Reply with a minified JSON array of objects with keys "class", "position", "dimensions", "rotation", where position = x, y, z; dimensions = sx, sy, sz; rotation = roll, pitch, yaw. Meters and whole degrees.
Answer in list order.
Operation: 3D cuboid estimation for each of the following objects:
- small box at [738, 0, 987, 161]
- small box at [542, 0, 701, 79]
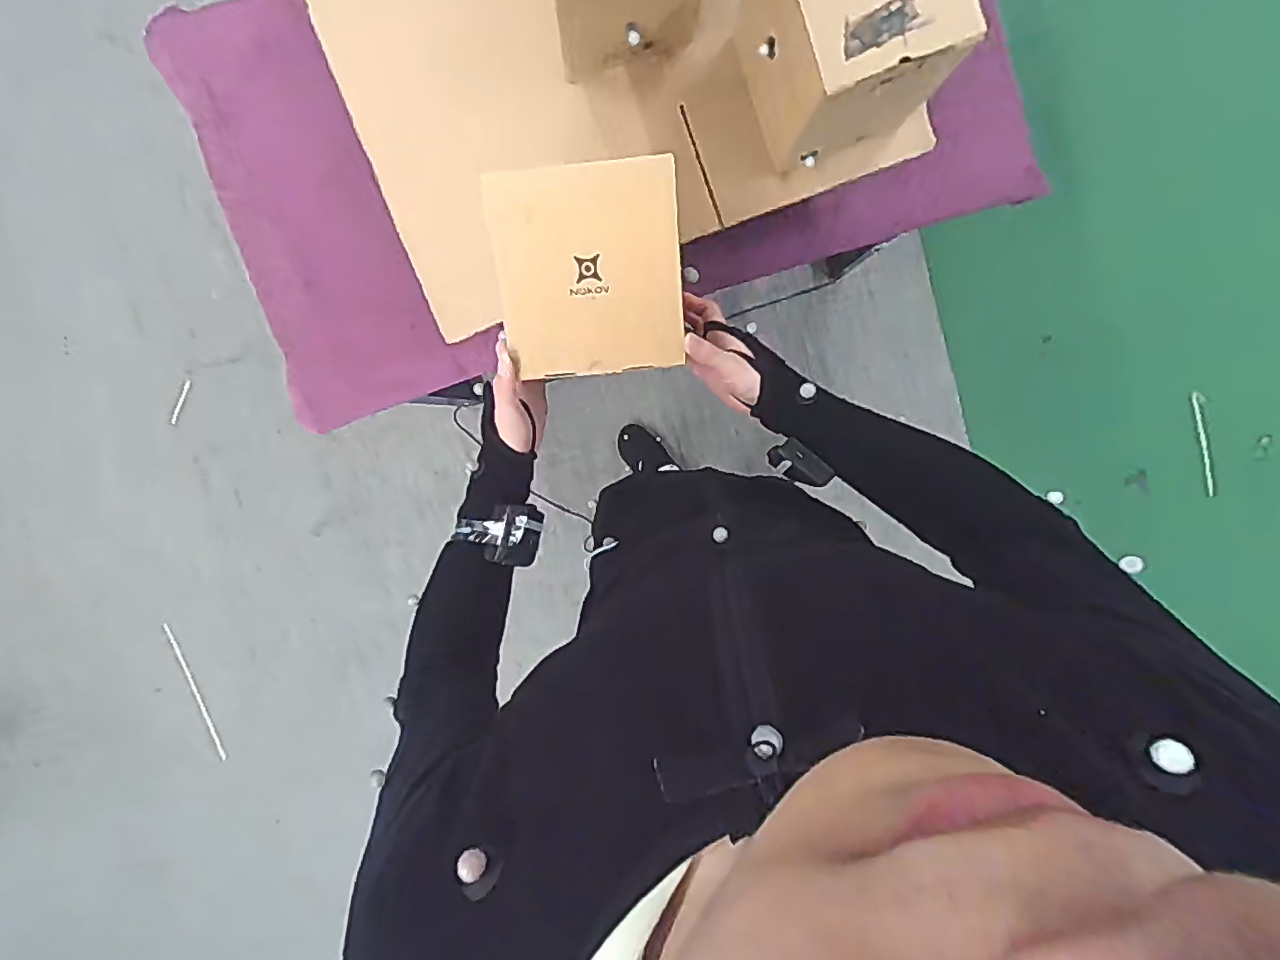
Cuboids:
[{"class":"small box","position":[0.221,-0.479,0.581],"dimensions":[0.168,0.176,0.179],"rotation":[-21,95,0]},{"class":"small box","position":[-0.034,-0.577,0.562],"dimensions":[0.168,0.176,0.179],"rotation":[-20,97,0]}]
